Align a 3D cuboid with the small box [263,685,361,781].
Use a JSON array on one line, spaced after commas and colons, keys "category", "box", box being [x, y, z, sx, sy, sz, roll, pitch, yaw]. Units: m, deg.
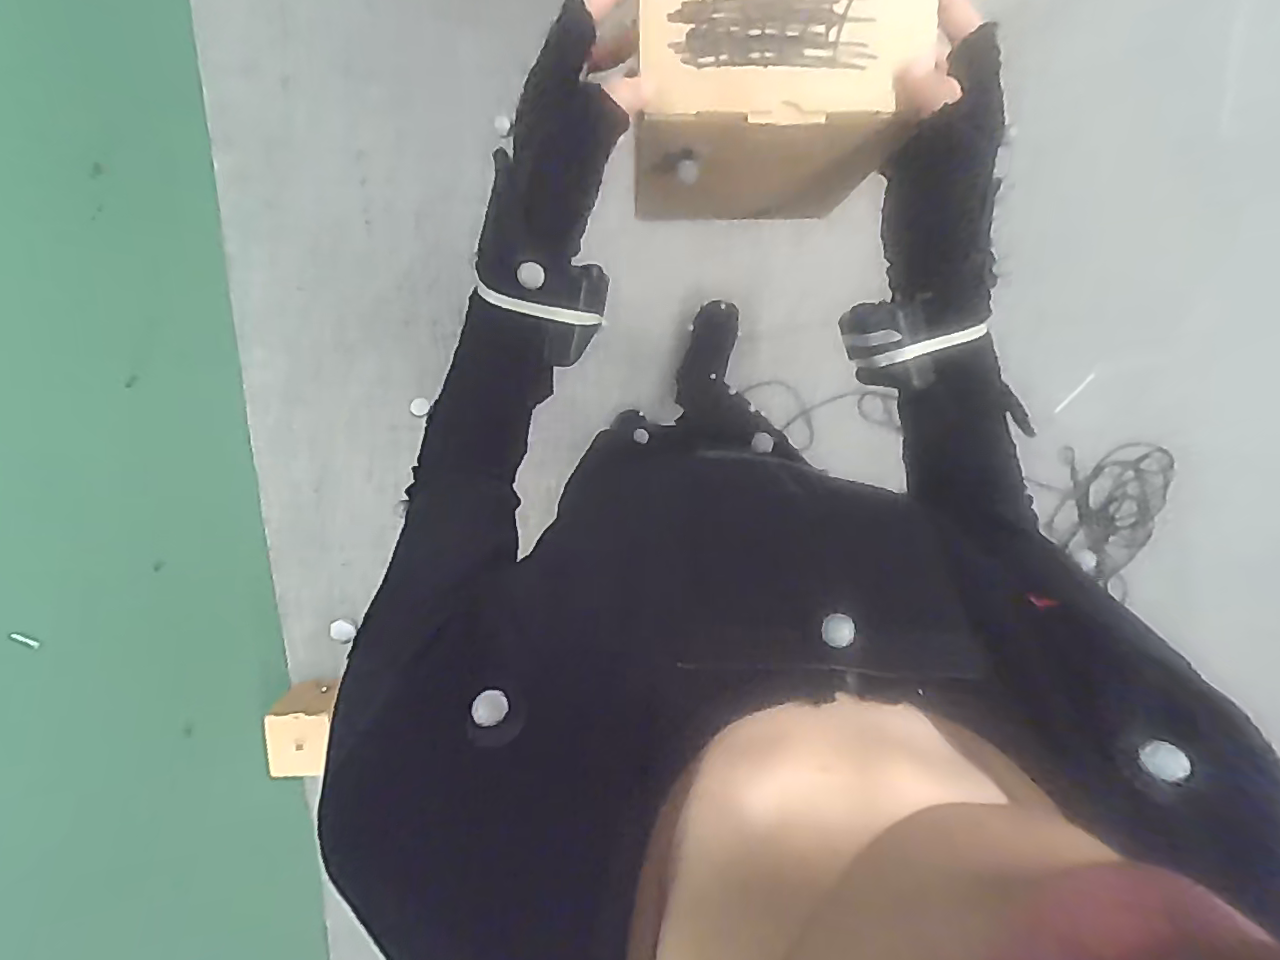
[{"category": "small box", "box": [-0.877, 0.679, 1.464, 0.168, 0.176, 0.179, -1, 98, -3]}]
